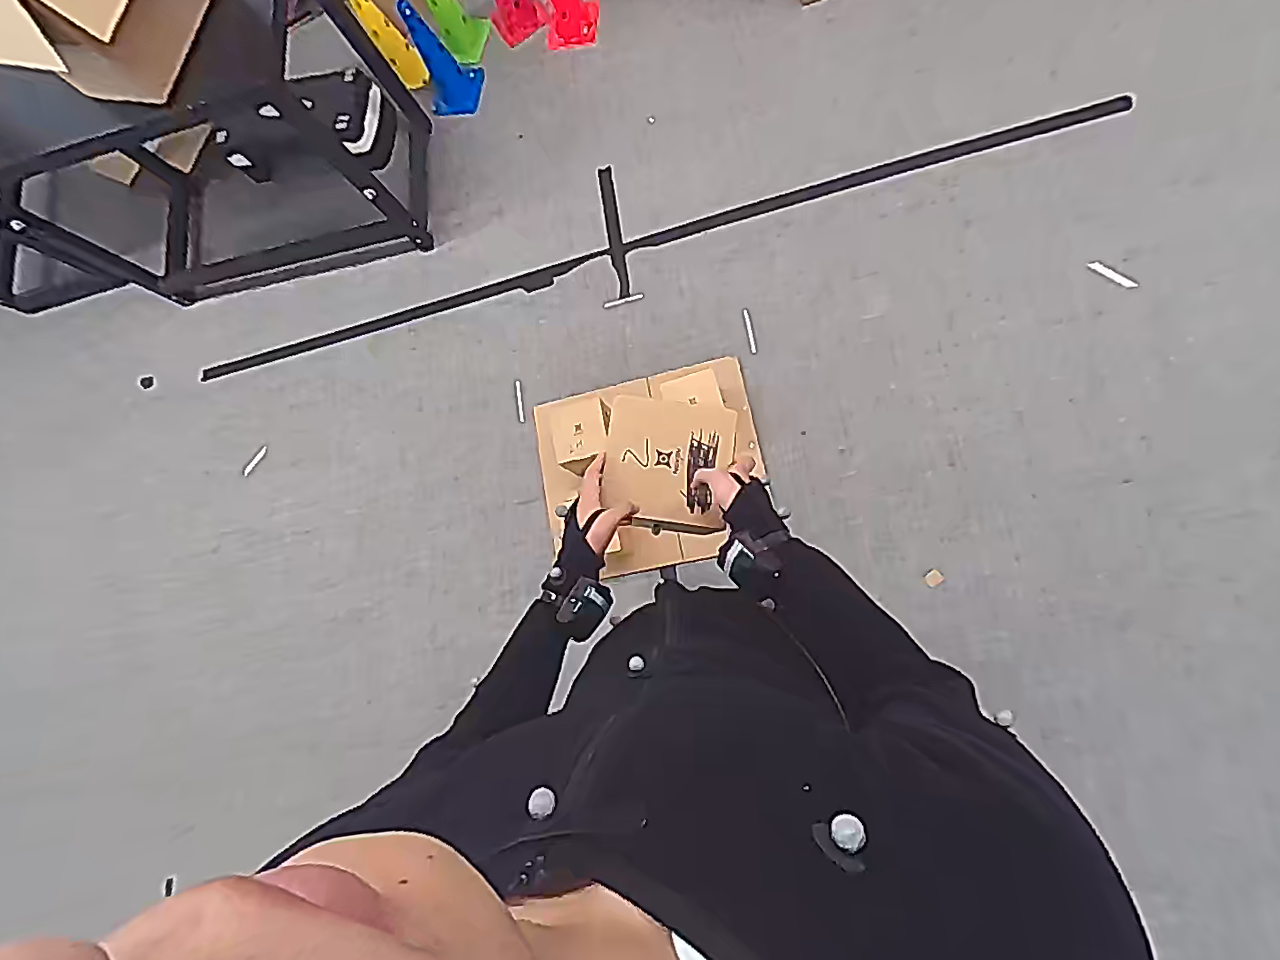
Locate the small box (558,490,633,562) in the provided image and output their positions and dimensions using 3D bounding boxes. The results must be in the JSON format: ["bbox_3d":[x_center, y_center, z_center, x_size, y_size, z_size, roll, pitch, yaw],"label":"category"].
[{"bbox_3d":[-0.130,0.143,1.618,0.168,0.176,0.179,-14,78,10],"label":"small box"}]

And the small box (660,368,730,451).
[{"bbox_3d":[0.168,-0.206,1.622,0.168,0.176,0.179,-17,77,9],"label":"small box"}]

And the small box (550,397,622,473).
[{"bbox_3d":[-0.164,-0.135,1.675,0.168,0.176,0.179,-14,78,11],"label":"small box"}]
